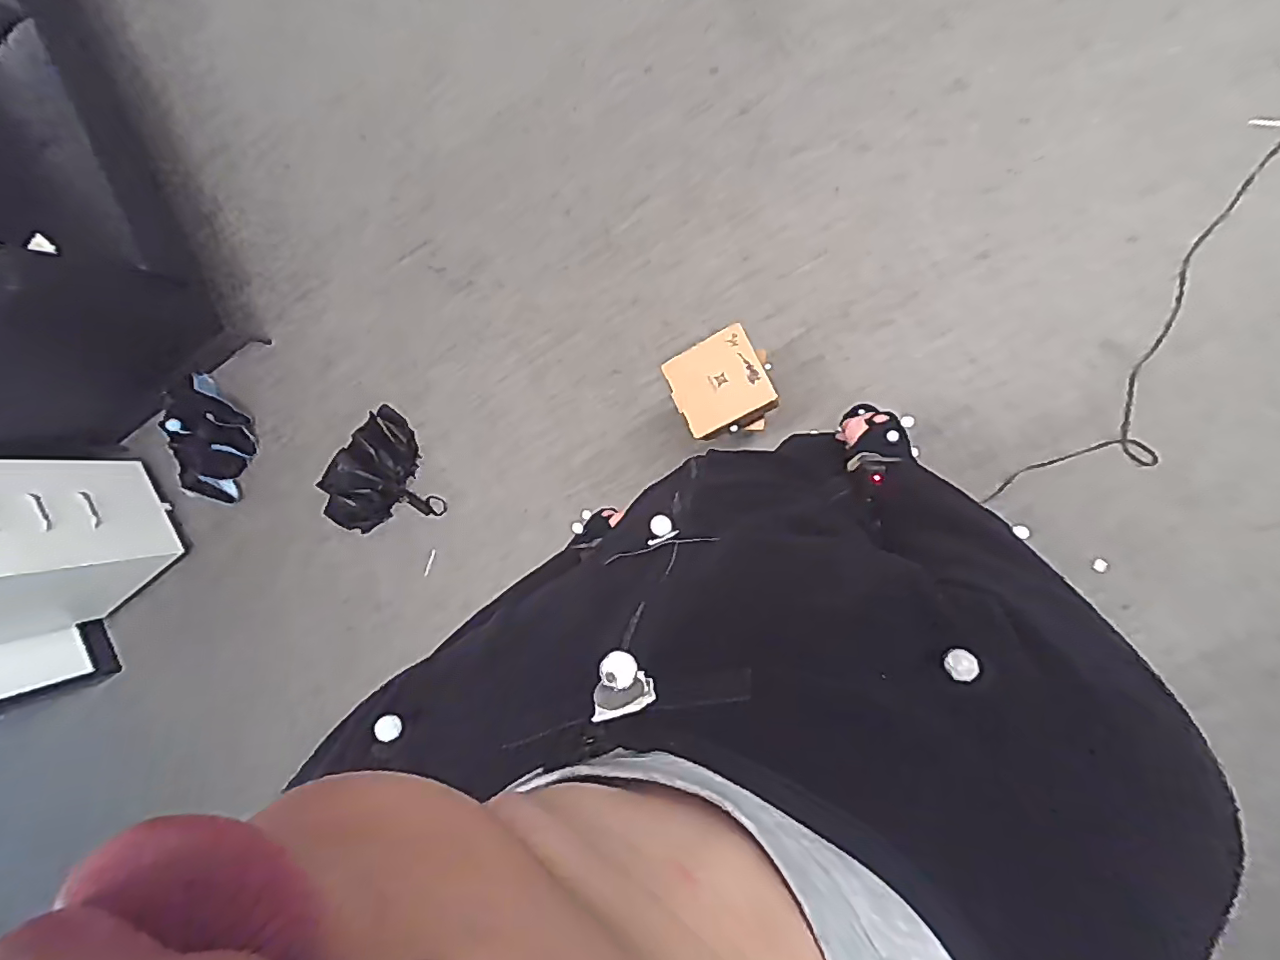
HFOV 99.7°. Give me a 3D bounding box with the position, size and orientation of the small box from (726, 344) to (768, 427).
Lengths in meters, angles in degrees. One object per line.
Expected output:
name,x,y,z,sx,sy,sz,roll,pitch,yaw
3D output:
small box,0.210,-0.216,1.267,0.168,0.176,0.179,3,95,16

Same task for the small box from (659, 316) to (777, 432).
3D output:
small box,0.166,-0.205,1.109,0.179,0.176,0.168,-26,86,17
